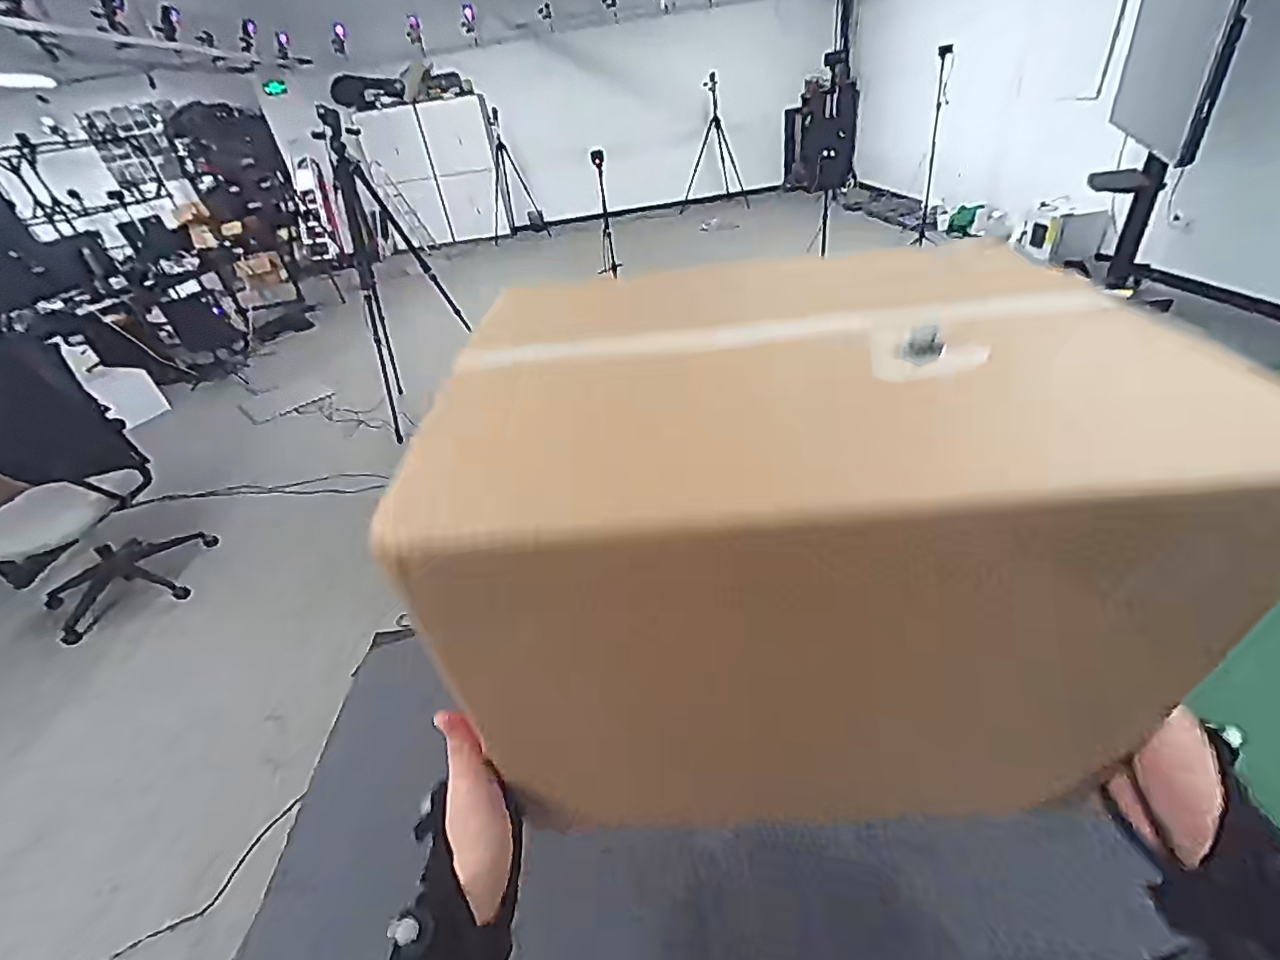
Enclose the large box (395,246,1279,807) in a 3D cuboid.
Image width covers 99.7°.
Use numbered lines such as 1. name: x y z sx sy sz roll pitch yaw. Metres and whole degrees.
1. large box: 0.097 0.028 0.434 0.408 0.320 0.320 -4 39 2
